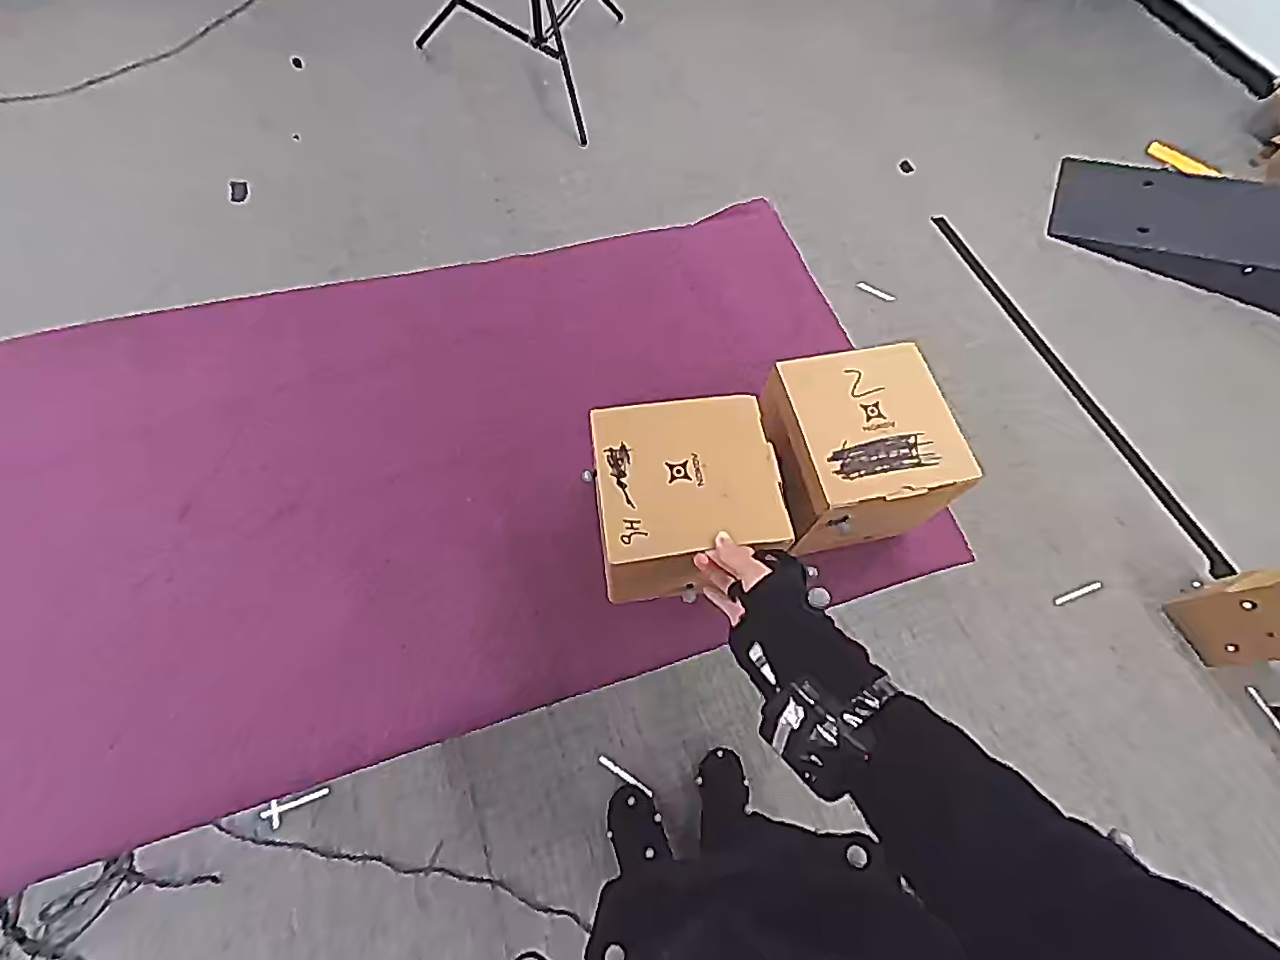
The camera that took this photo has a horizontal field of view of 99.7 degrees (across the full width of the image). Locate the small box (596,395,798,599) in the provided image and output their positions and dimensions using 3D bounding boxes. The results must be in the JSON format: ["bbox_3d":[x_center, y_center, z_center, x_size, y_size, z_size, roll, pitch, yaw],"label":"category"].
[{"bbox_3d":[0.046,0.025,0.593,0.179,0.176,0.168,-6,66,-7],"label":"small box"}]

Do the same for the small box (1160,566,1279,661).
[{"bbox_3d":[1.487,0.340,1.350,0.168,0.176,0.179,-19,68,-13],"label":"small box"}]

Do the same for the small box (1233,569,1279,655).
[{"bbox_3d":[1.499,0.279,1.197,0.179,0.176,0.168,-16,68,-12],"label":"small box"}]
